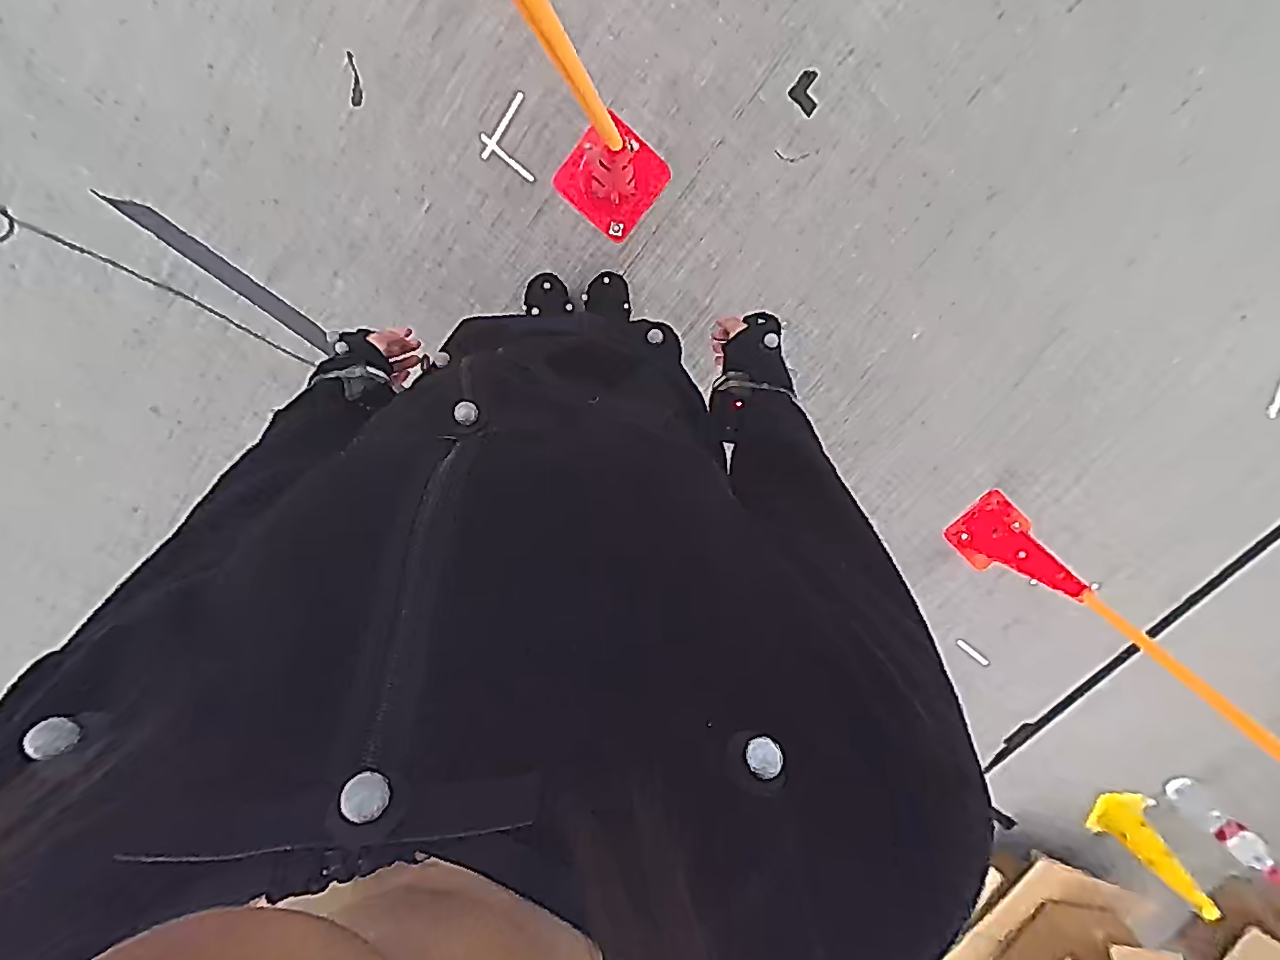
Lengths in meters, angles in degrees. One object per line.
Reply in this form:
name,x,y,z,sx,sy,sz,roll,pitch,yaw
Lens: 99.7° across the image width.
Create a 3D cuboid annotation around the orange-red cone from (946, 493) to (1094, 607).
orange-red cone,1.028,0.216,1.417,0.199,0.360,0.198,40,104,-17
